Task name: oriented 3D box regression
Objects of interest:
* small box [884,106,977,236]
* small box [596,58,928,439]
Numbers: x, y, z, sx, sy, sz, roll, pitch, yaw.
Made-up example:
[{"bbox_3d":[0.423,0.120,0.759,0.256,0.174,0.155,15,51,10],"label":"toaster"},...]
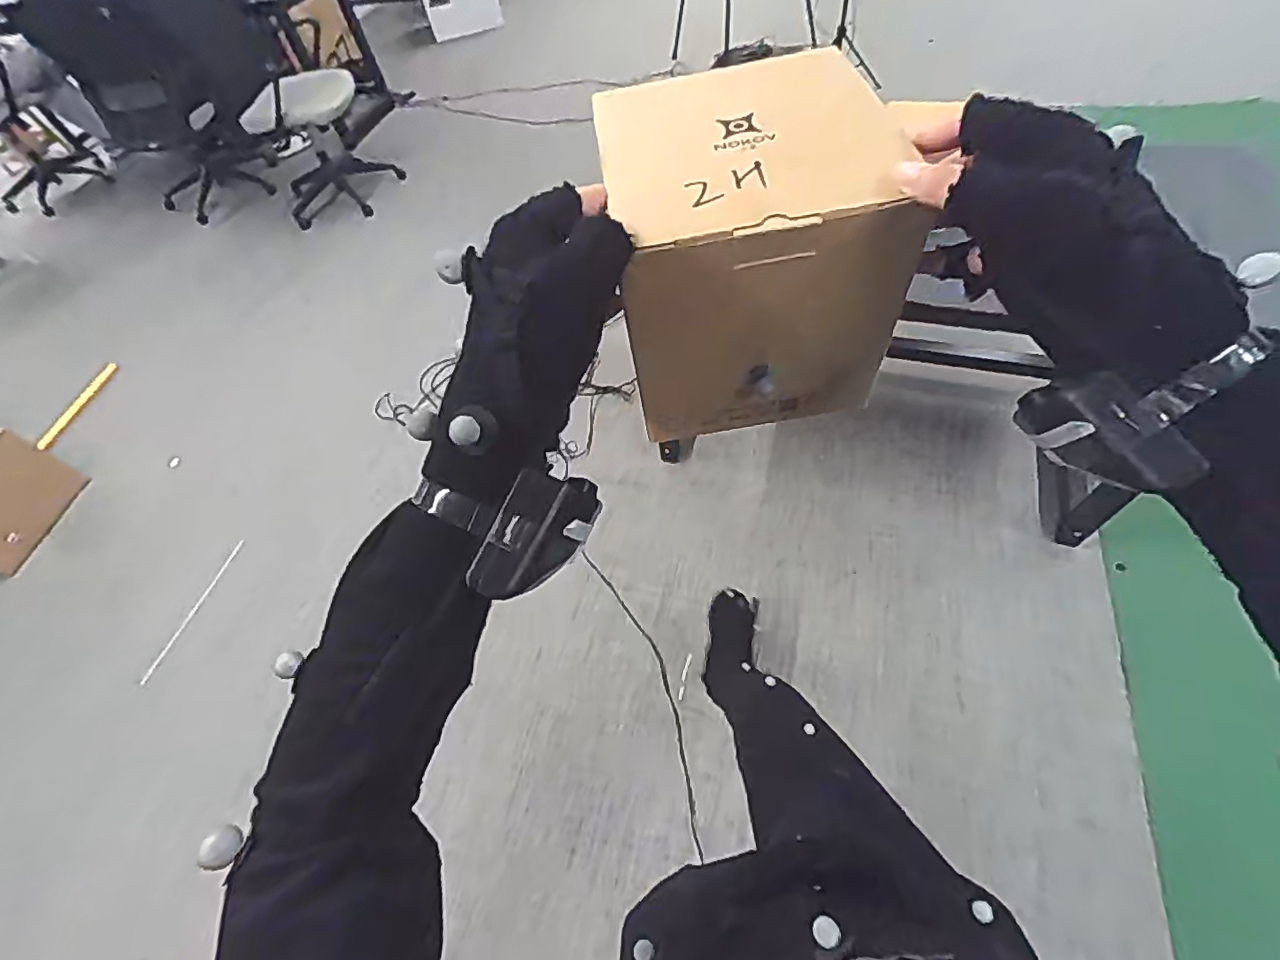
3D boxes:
[{"bbox_3d":[0.564,-0.629,1.101,0.168,0.176,0.179,12,60,17],"label":"small box"},{"bbox_3d":[0.067,-0.155,0.387,0.168,0.176,0.179,-10,58,4],"label":"small box"}]
